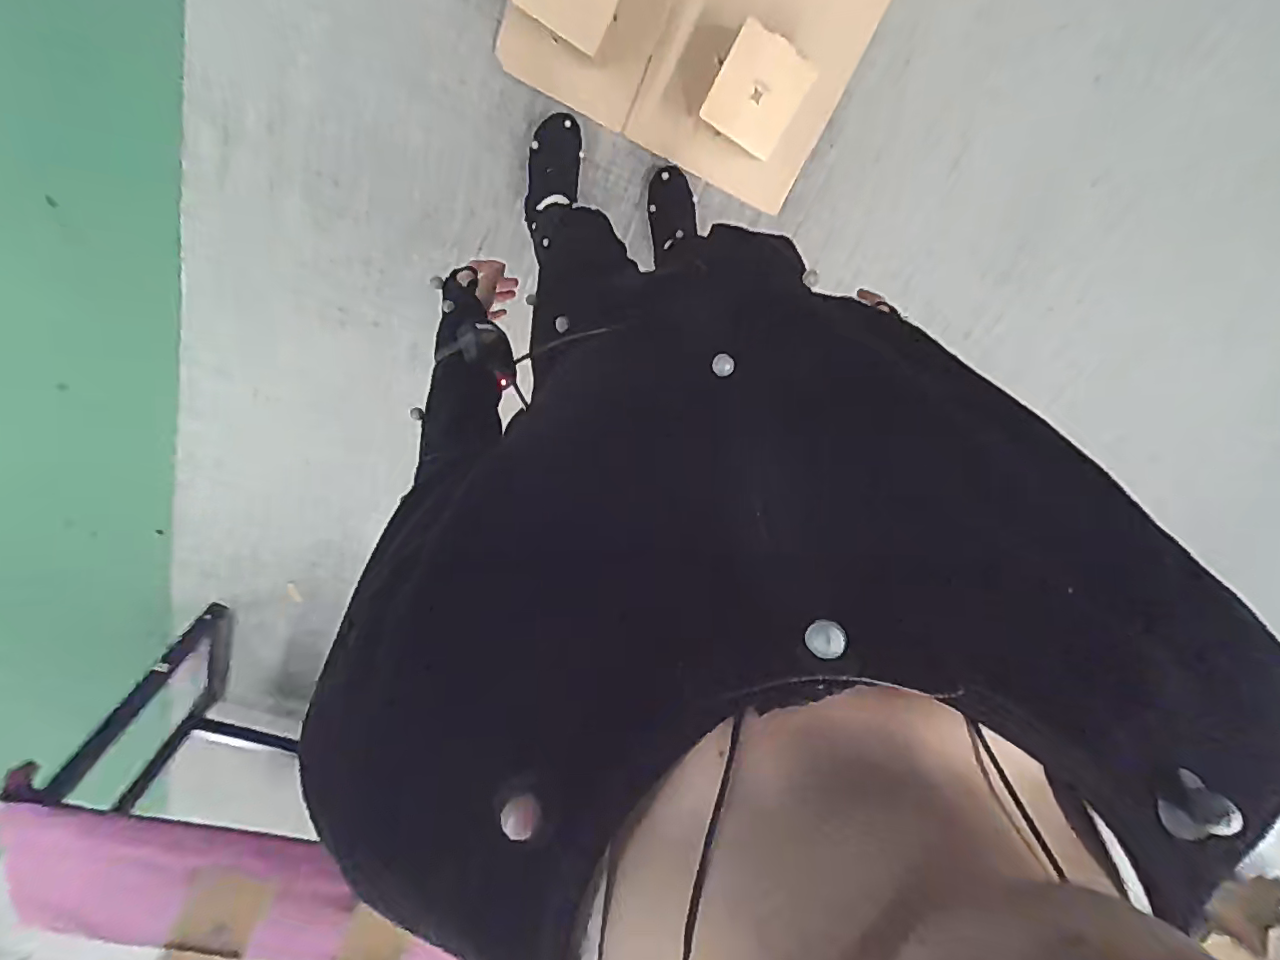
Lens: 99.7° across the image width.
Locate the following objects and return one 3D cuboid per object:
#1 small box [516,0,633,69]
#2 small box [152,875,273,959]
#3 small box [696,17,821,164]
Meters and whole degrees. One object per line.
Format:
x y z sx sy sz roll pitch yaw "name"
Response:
-0.107 -0.903 0.996 0.168 0.176 0.179 26 117 -17 "small box"
-1.043 1.106 1.323 0.179 0.176 0.168 25 117 -14 "small box"
0.225 -0.766 1.087 0.168 0.176 0.179 25 116 -16 "small box"
